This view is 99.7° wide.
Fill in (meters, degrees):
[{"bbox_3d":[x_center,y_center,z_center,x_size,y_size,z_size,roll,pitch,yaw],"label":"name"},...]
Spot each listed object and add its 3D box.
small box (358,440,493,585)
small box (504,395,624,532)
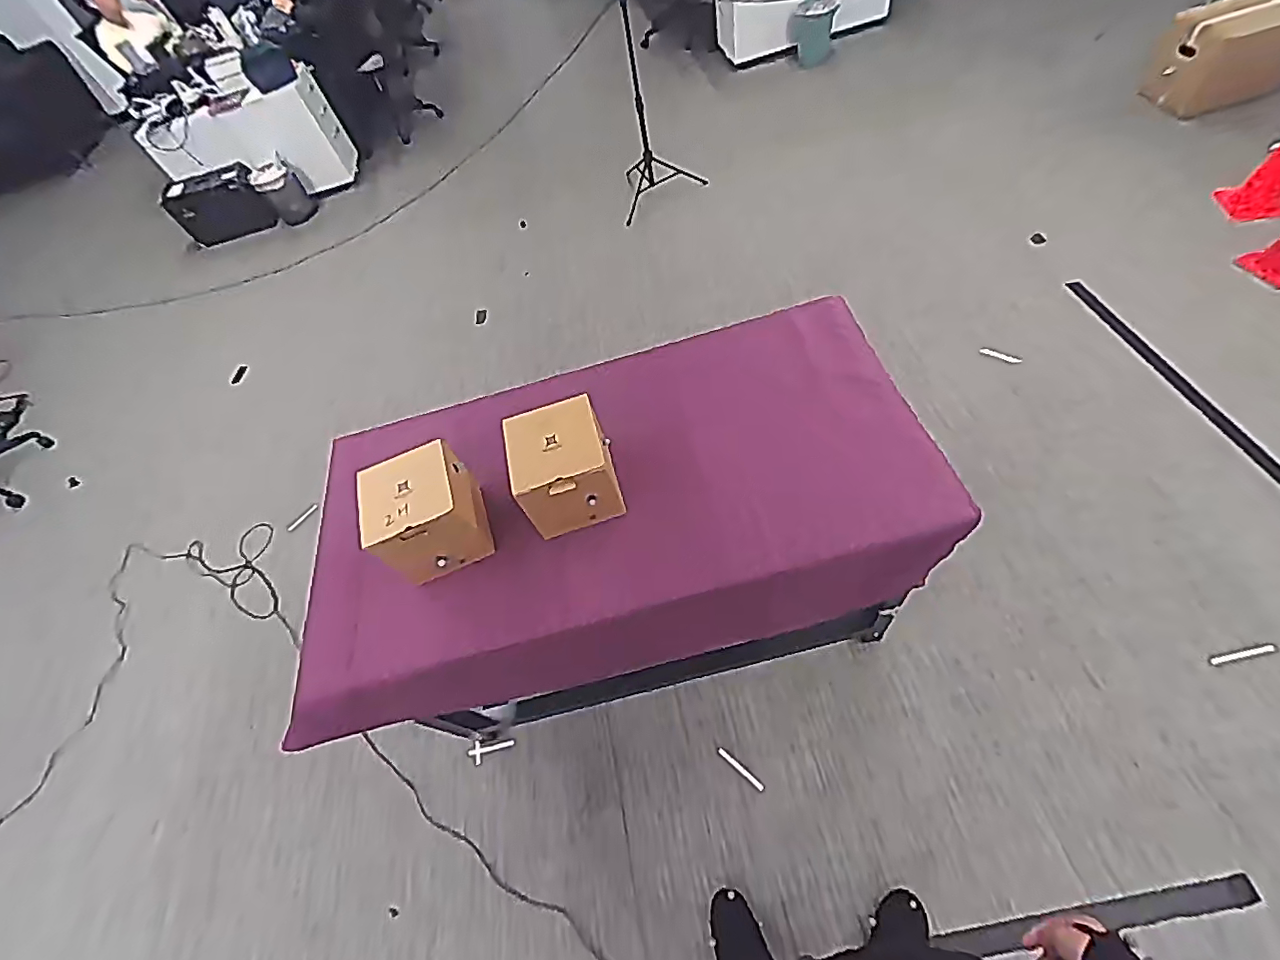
[{"bbox_3d":[-0.393,0.064,1.002,0.168,0.176,0.179,-24,56,-2],"label":"small box"},{"bbox_3d":[-0.137,-0.022,1.002,0.168,0.176,0.179,-17,55,1],"label":"small box"}]
